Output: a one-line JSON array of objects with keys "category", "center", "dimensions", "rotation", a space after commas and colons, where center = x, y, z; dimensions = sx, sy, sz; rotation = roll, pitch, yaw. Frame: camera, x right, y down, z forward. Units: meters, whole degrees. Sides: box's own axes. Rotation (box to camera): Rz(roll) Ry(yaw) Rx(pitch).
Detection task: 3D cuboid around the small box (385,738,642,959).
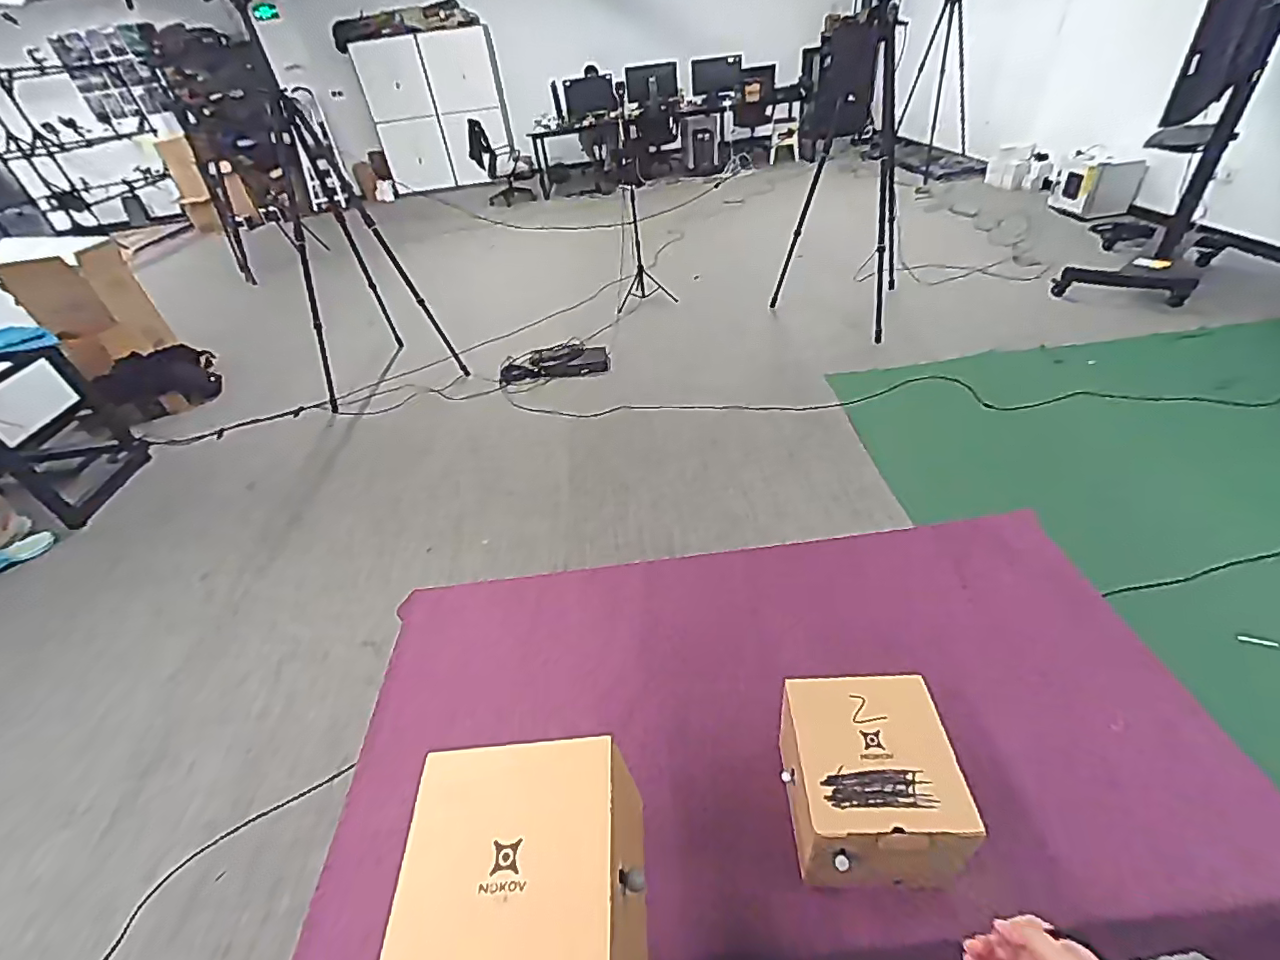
[{"category": "small box", "center": [-0.092, 0.353, 0.474], "dimensions": [0.168, 0.176, 0.179], "rotation": [-8, 45, 4]}]
